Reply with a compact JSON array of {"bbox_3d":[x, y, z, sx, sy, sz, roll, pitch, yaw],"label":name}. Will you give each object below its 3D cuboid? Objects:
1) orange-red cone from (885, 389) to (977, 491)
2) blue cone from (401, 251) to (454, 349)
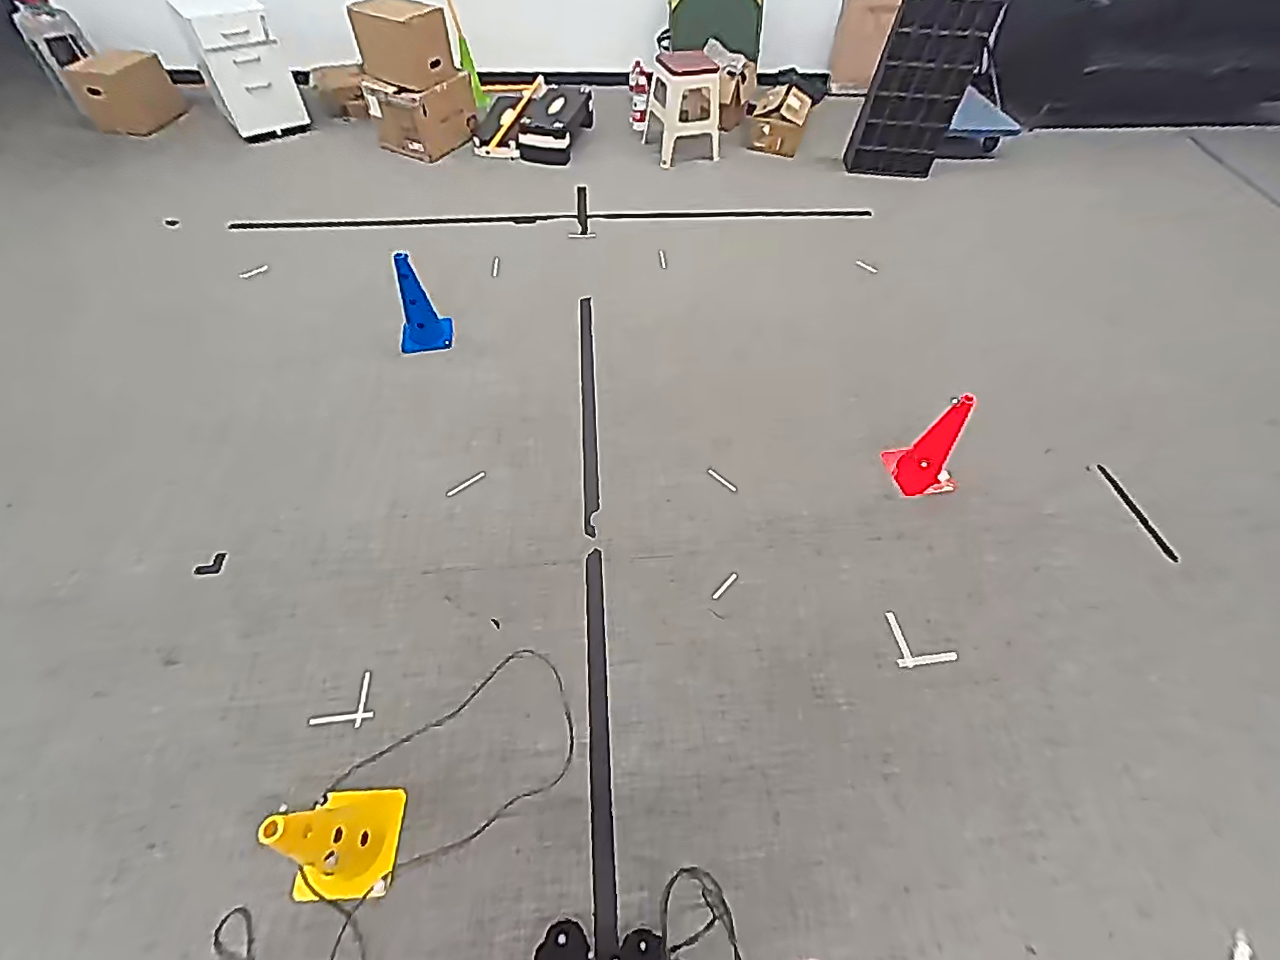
[{"bbox_3d":[0.978,-0.151,1.747,0.198,0.360,0.199,-6,52,-7],"label":"orange-red cone"},{"bbox_3d":[-0.865,-0.707,2.103,0.192,0.380,0.193,-7,54,-7],"label":"blue cone"}]
